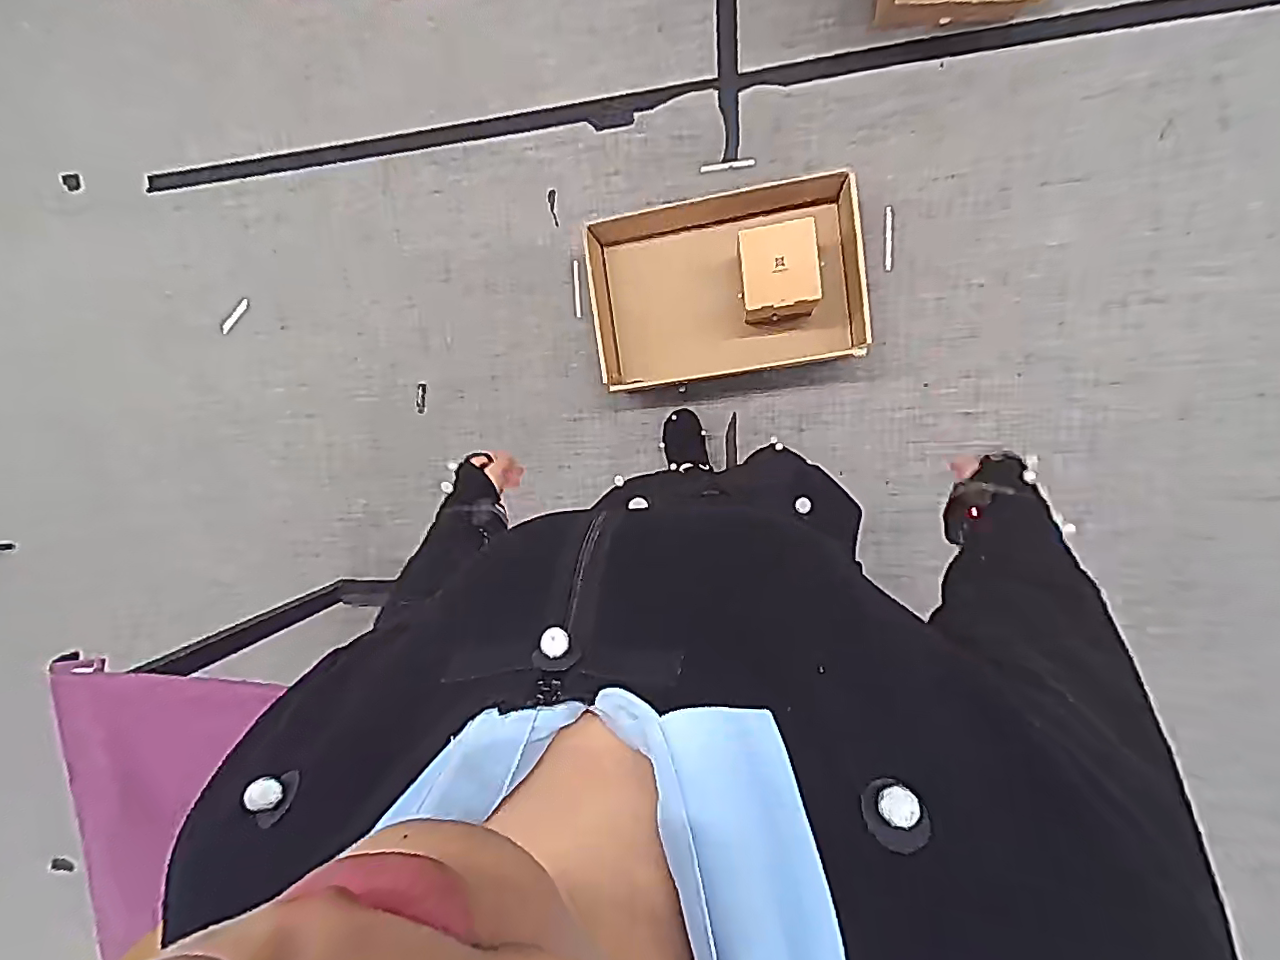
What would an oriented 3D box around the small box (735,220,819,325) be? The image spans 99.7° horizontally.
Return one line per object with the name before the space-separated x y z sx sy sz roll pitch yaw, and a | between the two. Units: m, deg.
small box | 0.315 -0.477 1.267 0.168 0.176 0.179 -7 95 10
